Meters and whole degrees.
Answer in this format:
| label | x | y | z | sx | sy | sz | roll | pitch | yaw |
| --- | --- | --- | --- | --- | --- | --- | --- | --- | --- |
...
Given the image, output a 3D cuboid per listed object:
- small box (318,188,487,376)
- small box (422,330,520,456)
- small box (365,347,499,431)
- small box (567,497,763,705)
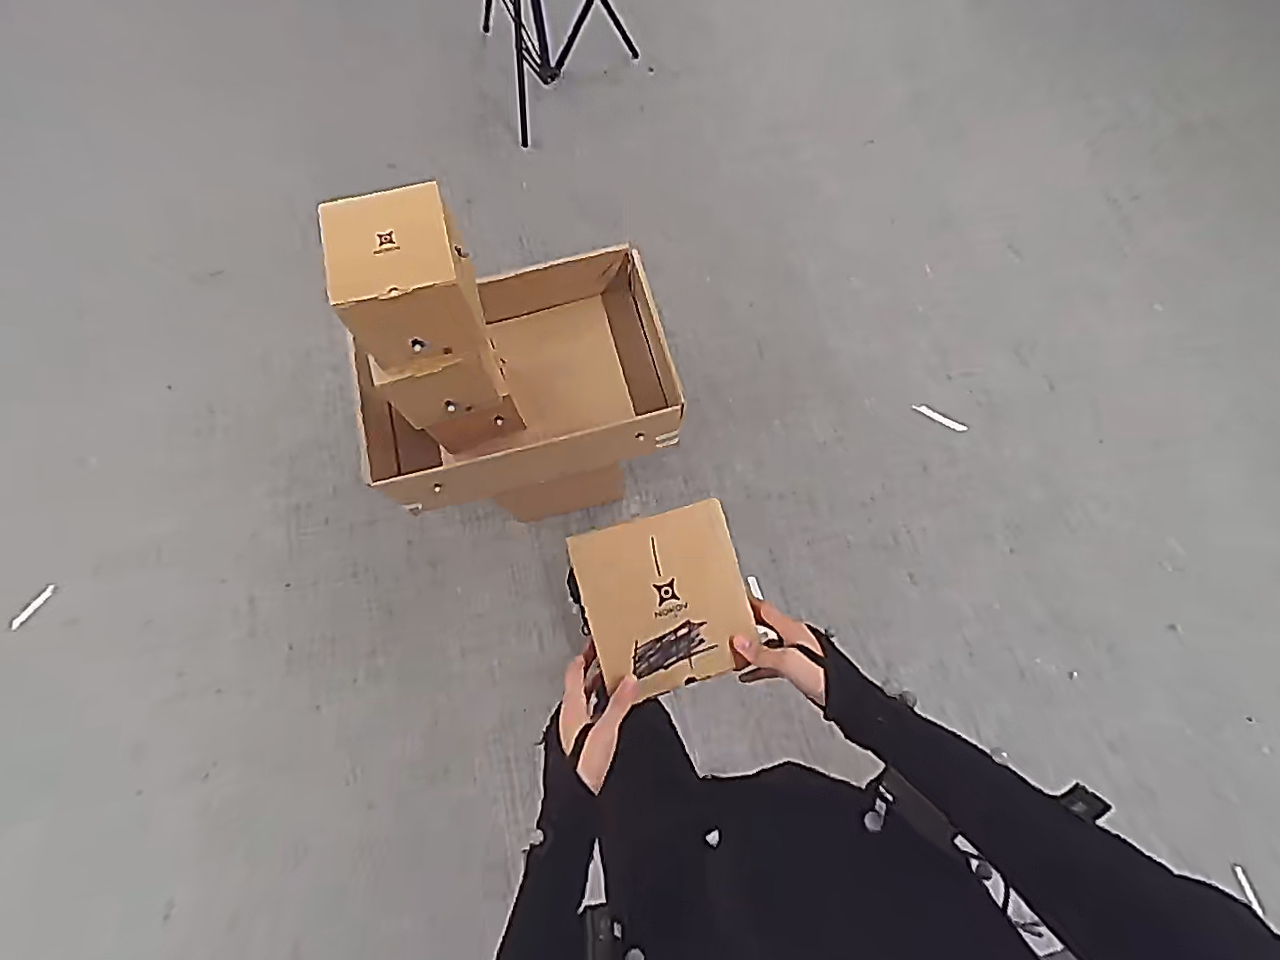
| label | x | y | z | sx | sy | sz | roll | pitch | yaw |
| --- | --- | --- | --- | --- | --- | --- | --- | --- | --- |
| small box | -0.337 | -0.281 | 0.790 | 0.168 | 0.176 | 0.179 | -16 | 73 | -6 |
| small box | -0.353 | -0.170 | 1.097 | 0.179 | 0.176 | 0.168 | -21 | 73 | -6 |
| small box | -0.360 | -0.211 | 0.938 | 0.168 | 0.176 | 0.179 | -19 | 74 | -6 |
| small box | 0.018 | 0.126 | 0.625 | 0.168 | 0.176 | 0.179 | -16 | 87 | -9 |
